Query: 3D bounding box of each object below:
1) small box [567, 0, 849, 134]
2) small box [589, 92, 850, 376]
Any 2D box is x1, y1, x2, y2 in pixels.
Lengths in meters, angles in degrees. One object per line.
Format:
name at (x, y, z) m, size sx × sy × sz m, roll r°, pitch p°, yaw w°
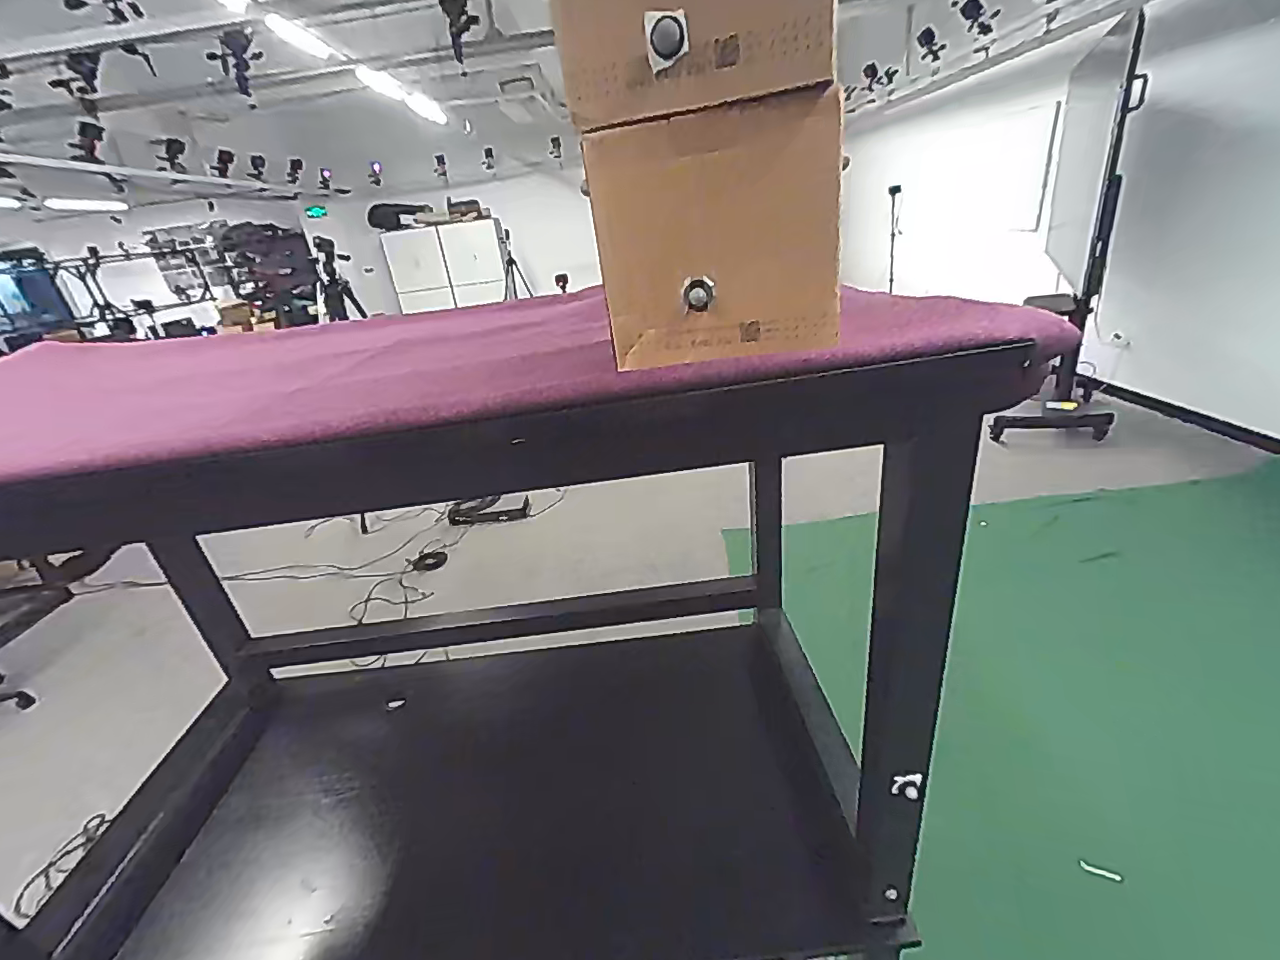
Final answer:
small box at (0.047, -0.332, 0.366) m, size 0.168 × 0.176 × 0.179 m, roll -2°, pitch 28°, yaw 15°
small box at (0.068, -0.192, 0.444) m, size 0.168 × 0.176 × 0.179 m, roll -3°, pitch 27°, yaw 11°
